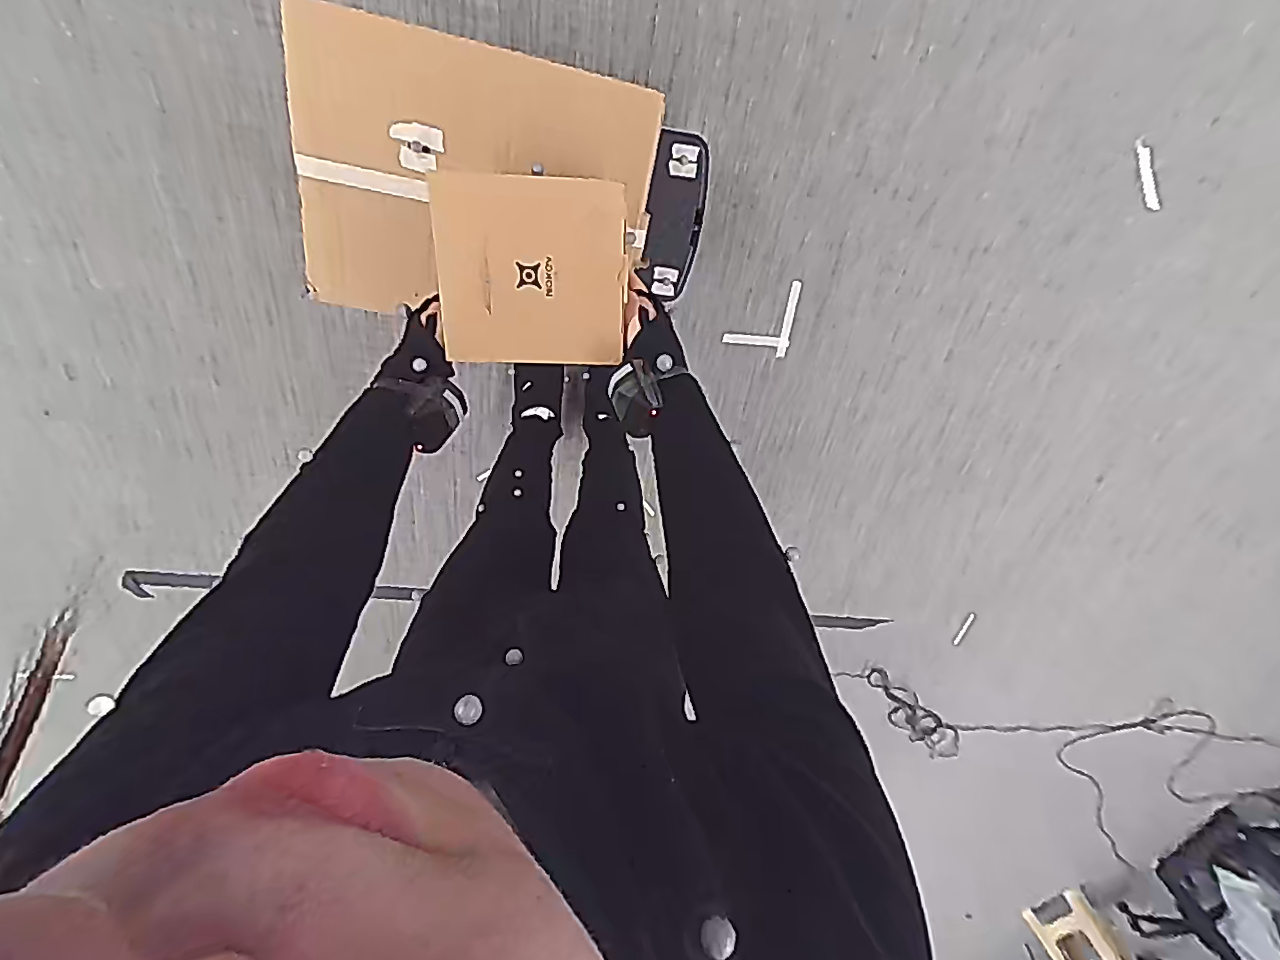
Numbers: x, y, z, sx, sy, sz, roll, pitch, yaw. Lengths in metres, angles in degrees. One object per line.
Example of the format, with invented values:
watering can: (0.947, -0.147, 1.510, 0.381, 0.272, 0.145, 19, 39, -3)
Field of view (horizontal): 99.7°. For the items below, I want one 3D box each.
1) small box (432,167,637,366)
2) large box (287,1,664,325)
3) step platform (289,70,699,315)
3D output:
small box: (-0.101, -0.221, 0.565, 0.179, 0.176, 0.168, 0, 114, -6)
large box: (-0.200, -0.406, 0.775, 0.408, 0.320, 0.320, 9, 119, -9)
step platform: (-0.239, -0.520, 0.983, 0.684, 0.204, 0.286, 11, 119, -10)
